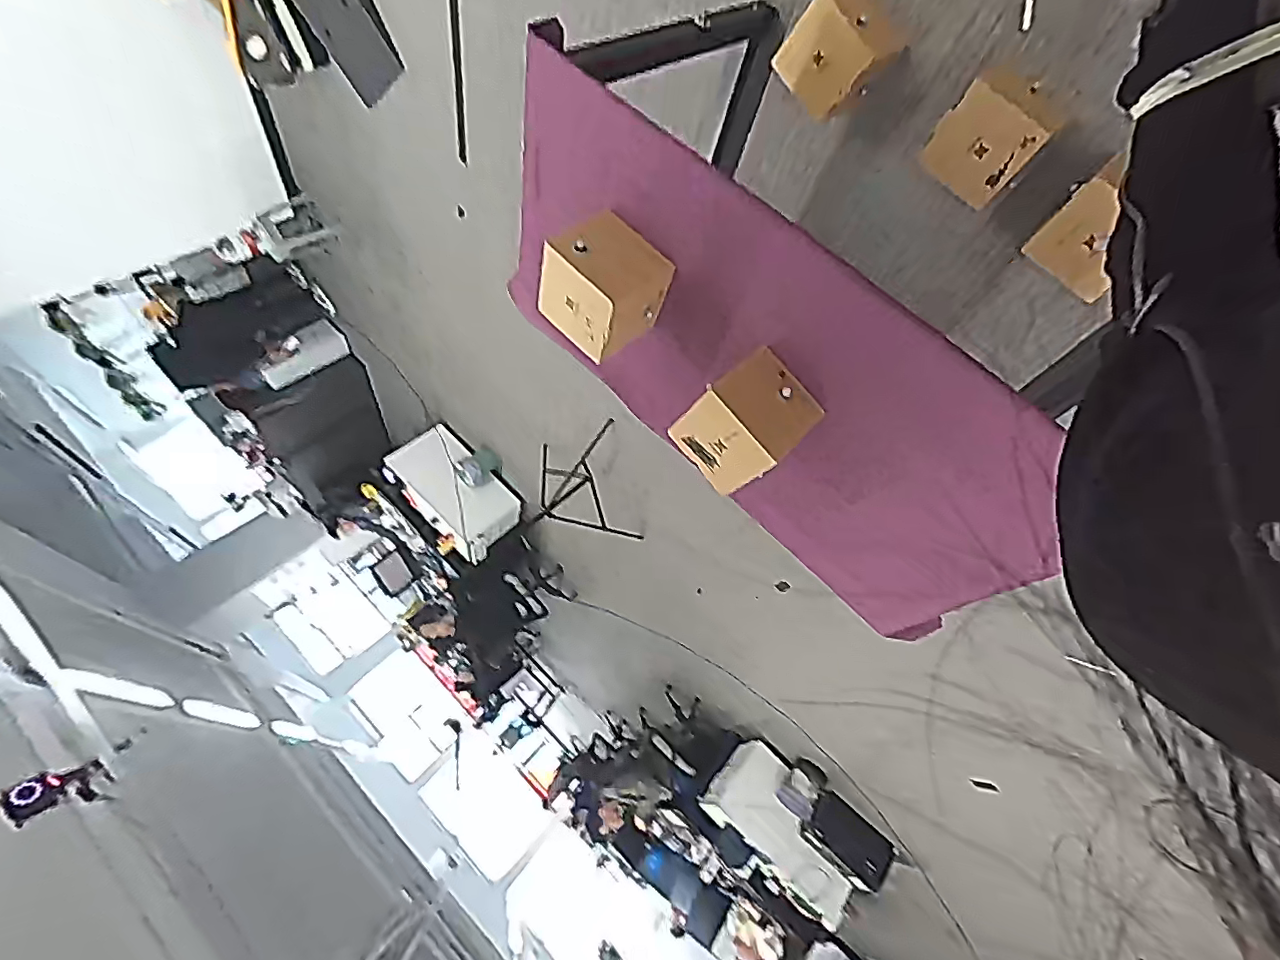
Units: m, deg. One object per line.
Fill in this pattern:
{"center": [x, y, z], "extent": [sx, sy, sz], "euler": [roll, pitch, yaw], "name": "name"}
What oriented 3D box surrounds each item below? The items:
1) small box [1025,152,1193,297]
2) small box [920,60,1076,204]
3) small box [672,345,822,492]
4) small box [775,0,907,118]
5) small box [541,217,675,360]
{"center": [0.914, -0.502, 1.055], "extent": [0.179, 0.176, 0.168], "euler": [44, 150, 9], "name": "small box"}
{"center": [0.716, -0.702, 1.085], "extent": [0.179, 0.176, 0.168], "euler": [45, 151, 7], "name": "small box"}
{"center": [0.196, -0.111, 0.992], "extent": [0.168, 0.176, 0.179], "euler": [48, 151, 0], "name": "small box"}
{"center": [0.437, -0.943, 1.177], "extent": [0.179, 0.176, 0.168], "euler": [50, 151, -5], "name": "small box"}
{"center": [-0.064, -0.371, 1.033], "extent": [0.179, 0.176, 0.168], "euler": [43, 152, 9], "name": "small box"}
